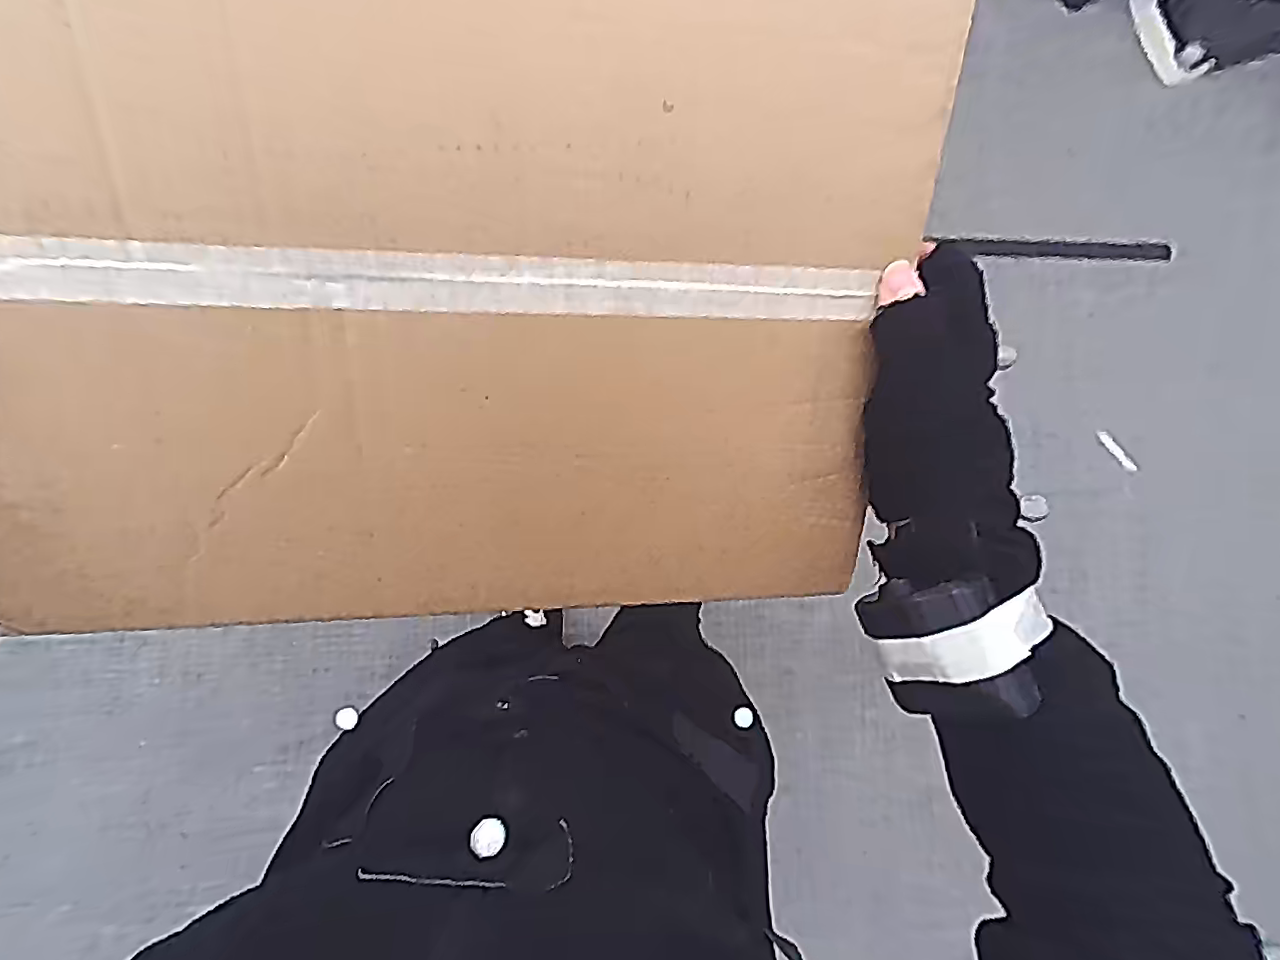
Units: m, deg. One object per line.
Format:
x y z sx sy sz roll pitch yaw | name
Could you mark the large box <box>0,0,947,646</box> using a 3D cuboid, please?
-0.103 -0.125 0.361 0.408 0.320 0.320 -1 112 -9 | large box
